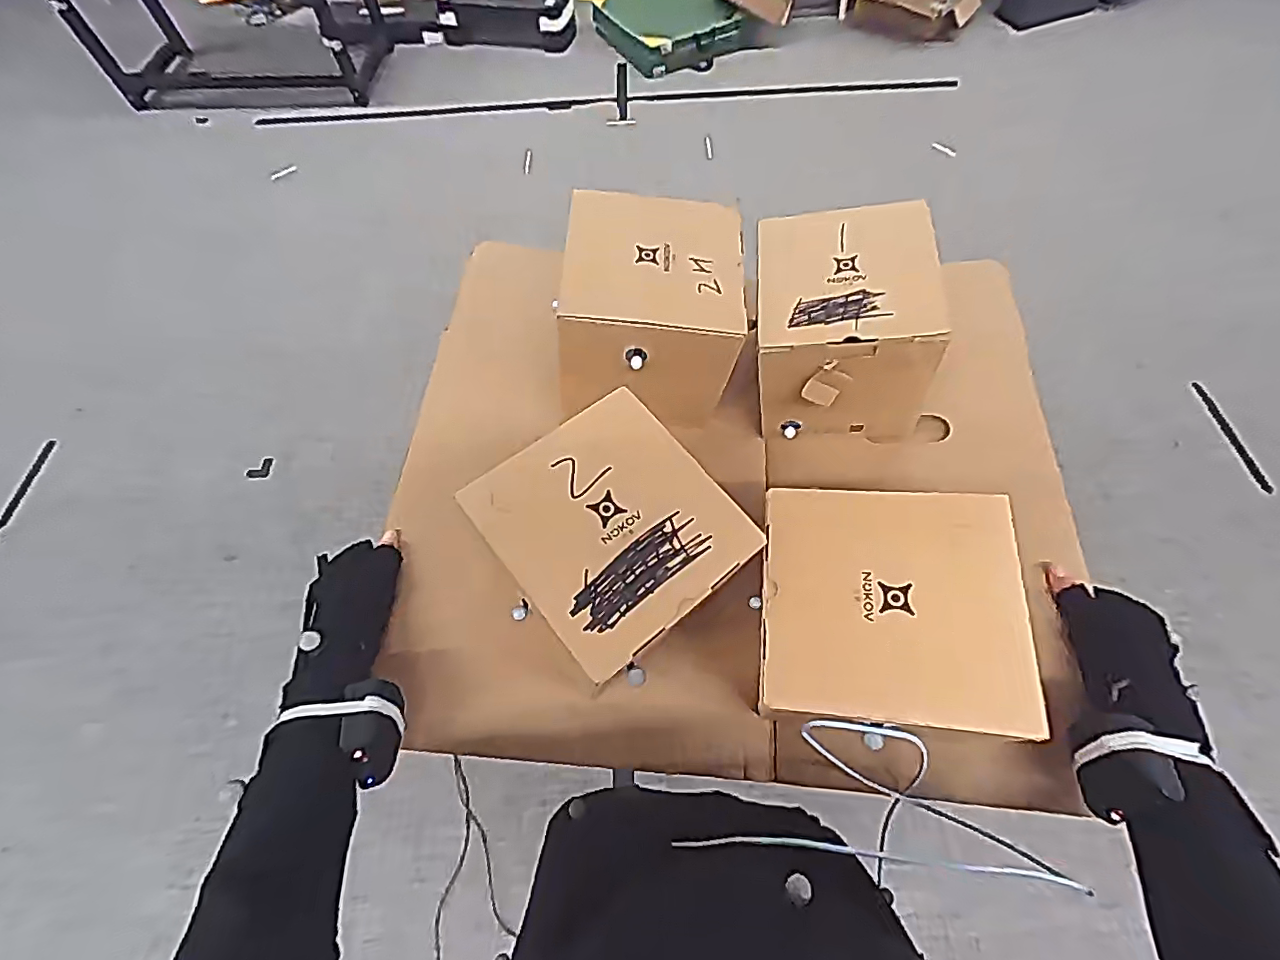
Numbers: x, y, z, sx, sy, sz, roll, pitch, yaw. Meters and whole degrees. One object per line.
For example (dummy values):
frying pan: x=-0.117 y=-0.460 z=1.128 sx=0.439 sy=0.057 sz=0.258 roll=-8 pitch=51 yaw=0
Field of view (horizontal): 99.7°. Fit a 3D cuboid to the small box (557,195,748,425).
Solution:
small box: x=0.010 y=-0.174 z=0.590 sx=0.179 sy=0.176 sz=0.168 roll=5 pitch=66 yaw=-4
